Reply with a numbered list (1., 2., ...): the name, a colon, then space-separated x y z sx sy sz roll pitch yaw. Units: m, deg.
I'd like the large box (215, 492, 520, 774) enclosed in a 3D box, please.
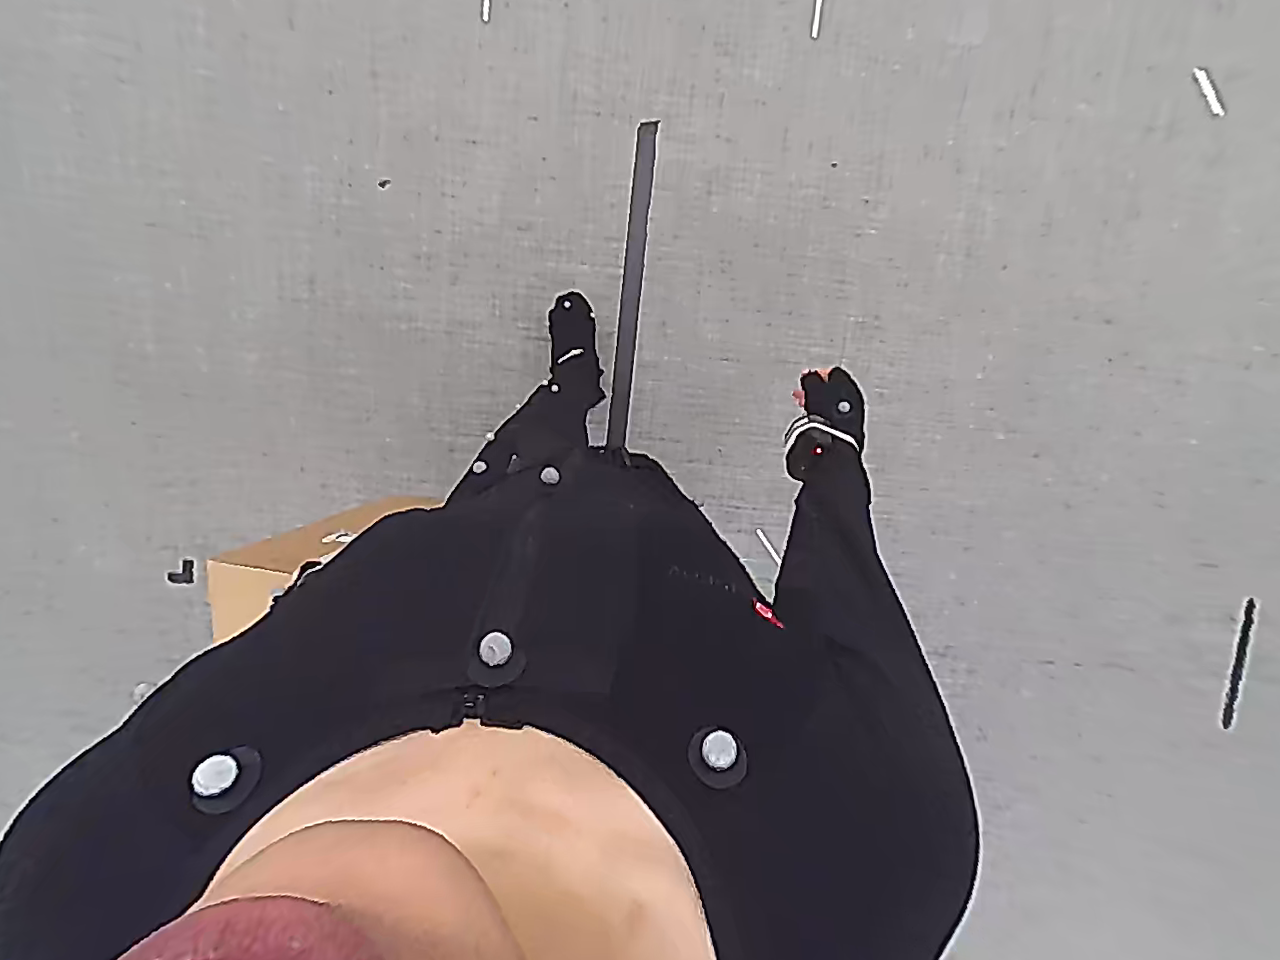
1. large box: -0.440 0.230 0.970 0.320 0.408 0.320 6 103 11
